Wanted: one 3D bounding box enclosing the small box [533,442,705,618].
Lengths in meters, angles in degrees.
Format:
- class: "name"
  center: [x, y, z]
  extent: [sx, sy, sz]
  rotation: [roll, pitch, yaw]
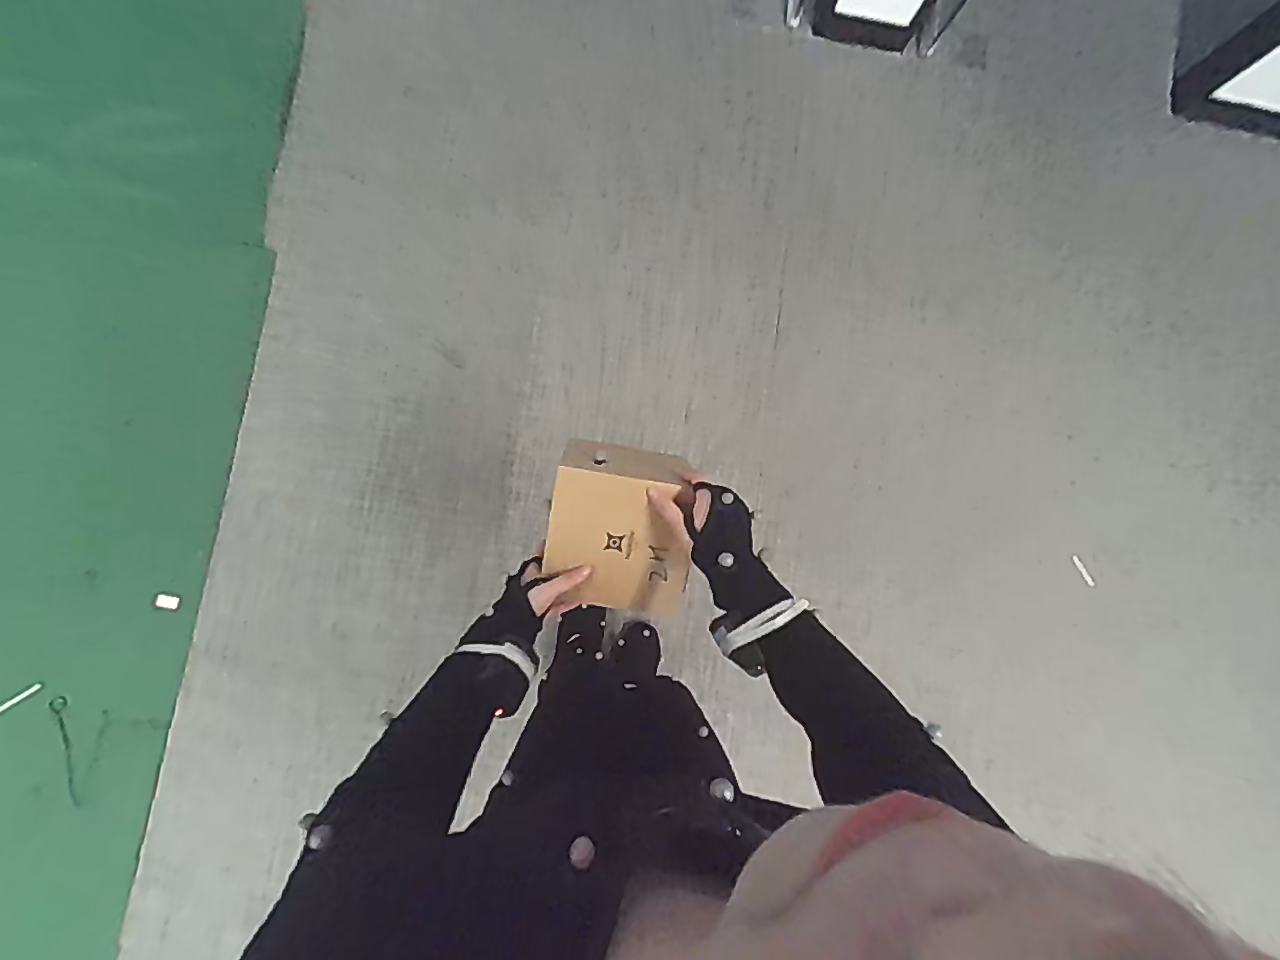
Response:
- class: "small box"
  center: [-0.030, 0.054, 0.703]
  extent: [0.179, 0.176, 0.168]
  rotation: [10, 106, -6]
